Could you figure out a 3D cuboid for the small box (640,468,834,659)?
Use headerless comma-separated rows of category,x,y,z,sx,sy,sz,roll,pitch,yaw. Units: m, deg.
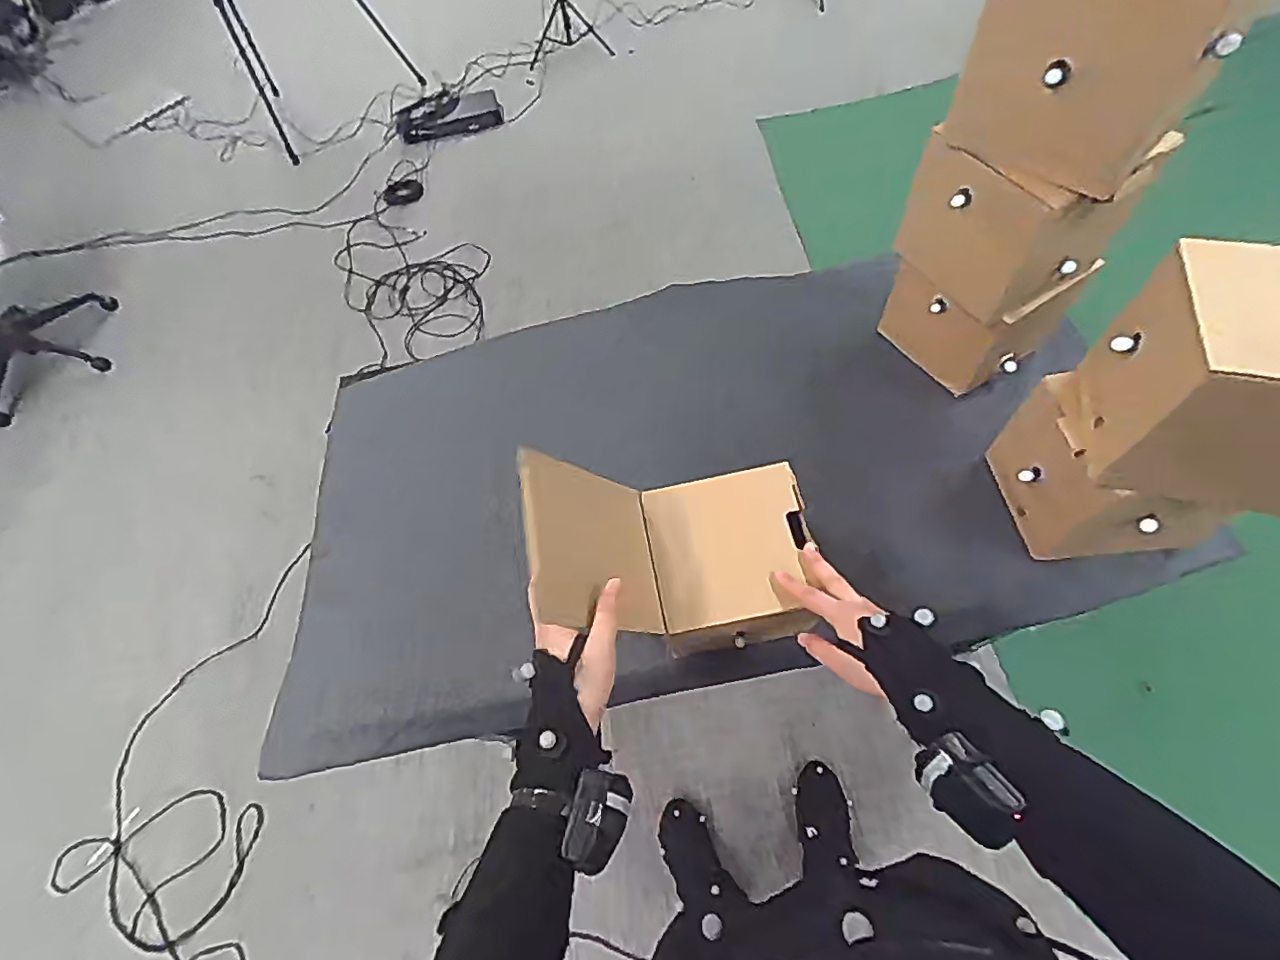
small box,0.106,0.107,0.642,0.179,0.176,0.168,-12,63,3

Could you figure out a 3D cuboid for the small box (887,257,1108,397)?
small box,0.493,-0.255,0.782,0.168,0.176,0.179,-32,64,-6

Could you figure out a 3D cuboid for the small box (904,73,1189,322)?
small box,0.448,-0.325,0.638,0.168,0.176,0.179,-29,62,-4

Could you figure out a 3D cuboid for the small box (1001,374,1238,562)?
small box,0.565,-0.013,0.638,0.179,0.176,0.168,-7,58,6

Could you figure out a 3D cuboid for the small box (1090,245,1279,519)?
small box,0.549,-0.083,0.491,0.179,0.176,0.168,13,62,15
